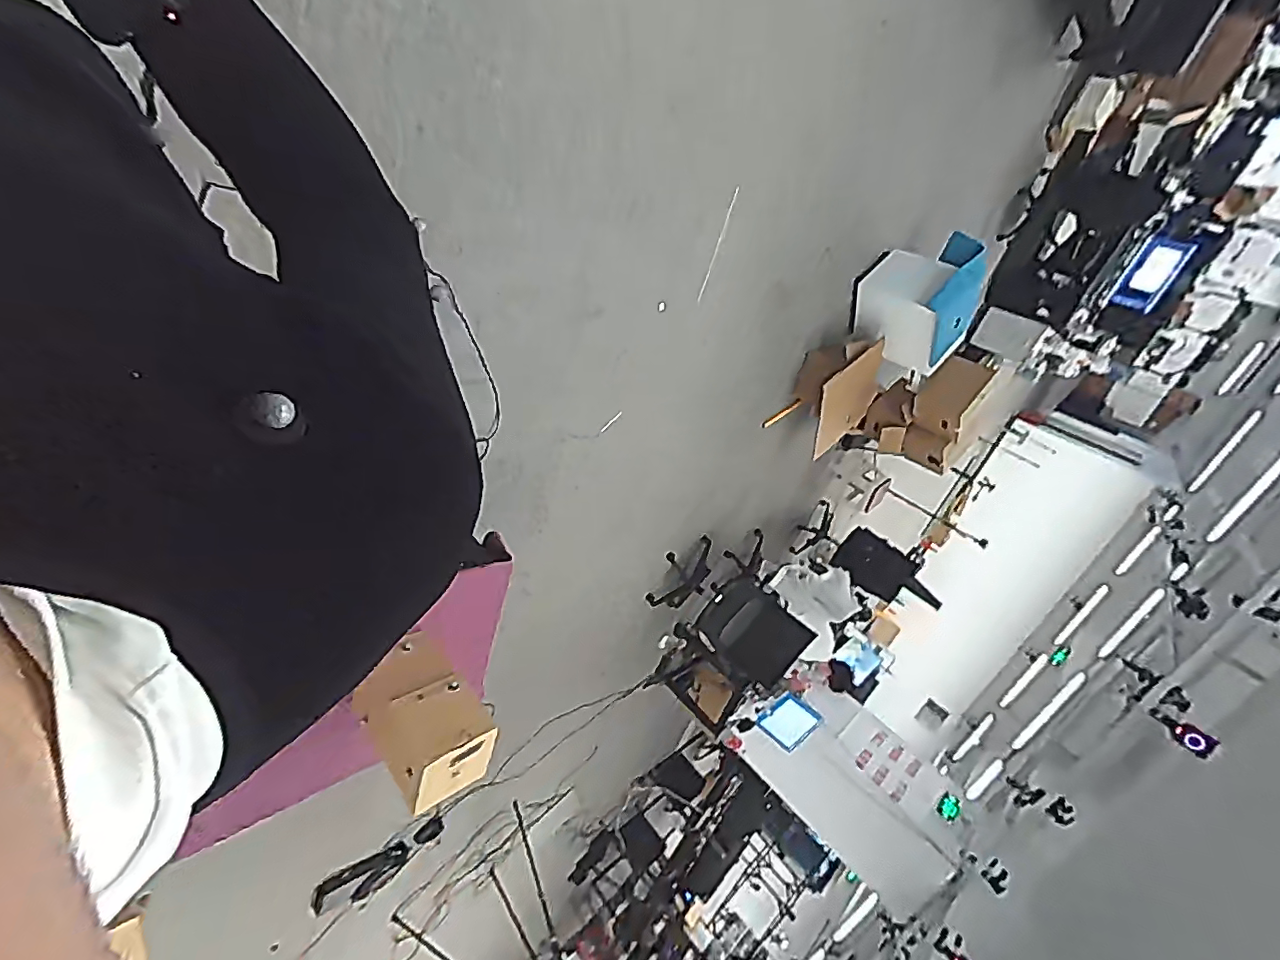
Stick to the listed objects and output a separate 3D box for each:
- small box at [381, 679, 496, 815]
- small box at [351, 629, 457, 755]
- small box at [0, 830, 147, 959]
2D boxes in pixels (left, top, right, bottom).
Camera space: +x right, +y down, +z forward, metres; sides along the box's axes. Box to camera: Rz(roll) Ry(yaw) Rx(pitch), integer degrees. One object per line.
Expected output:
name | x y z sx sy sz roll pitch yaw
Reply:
small box | -0.438 0.559 1.164 0.168 0.176 0.179 -12 131 -47
small box | -0.552 0.483 1.253 0.168 0.176 0.179 -12 130 -47
small box | -0.818 0.636 0.755 0.168 0.176 0.179 -11 129 -47
